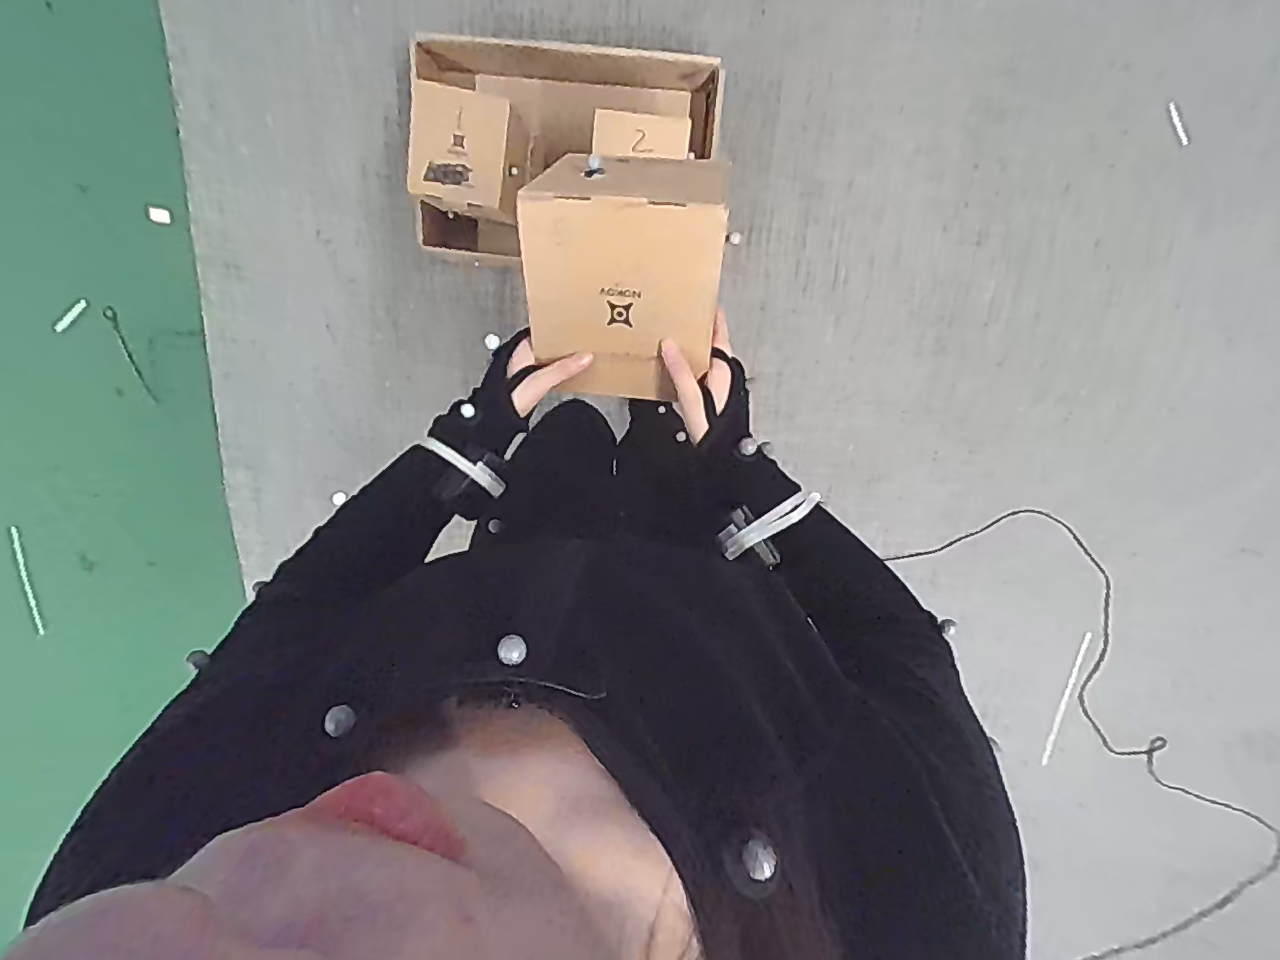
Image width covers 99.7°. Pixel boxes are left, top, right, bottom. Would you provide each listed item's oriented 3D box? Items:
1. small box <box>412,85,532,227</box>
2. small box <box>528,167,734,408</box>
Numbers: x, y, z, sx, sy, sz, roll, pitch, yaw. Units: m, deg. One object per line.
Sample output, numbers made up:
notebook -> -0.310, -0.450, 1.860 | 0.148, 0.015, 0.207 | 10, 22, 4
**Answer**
small box -> -0.306, -0.588, 1.009 | 0.168, 0.176, 0.179 | 11, 106, -3
small box -> -0.002, -0.196, 0.535 | 0.168, 0.176, 0.179 | 7, 130, 6
